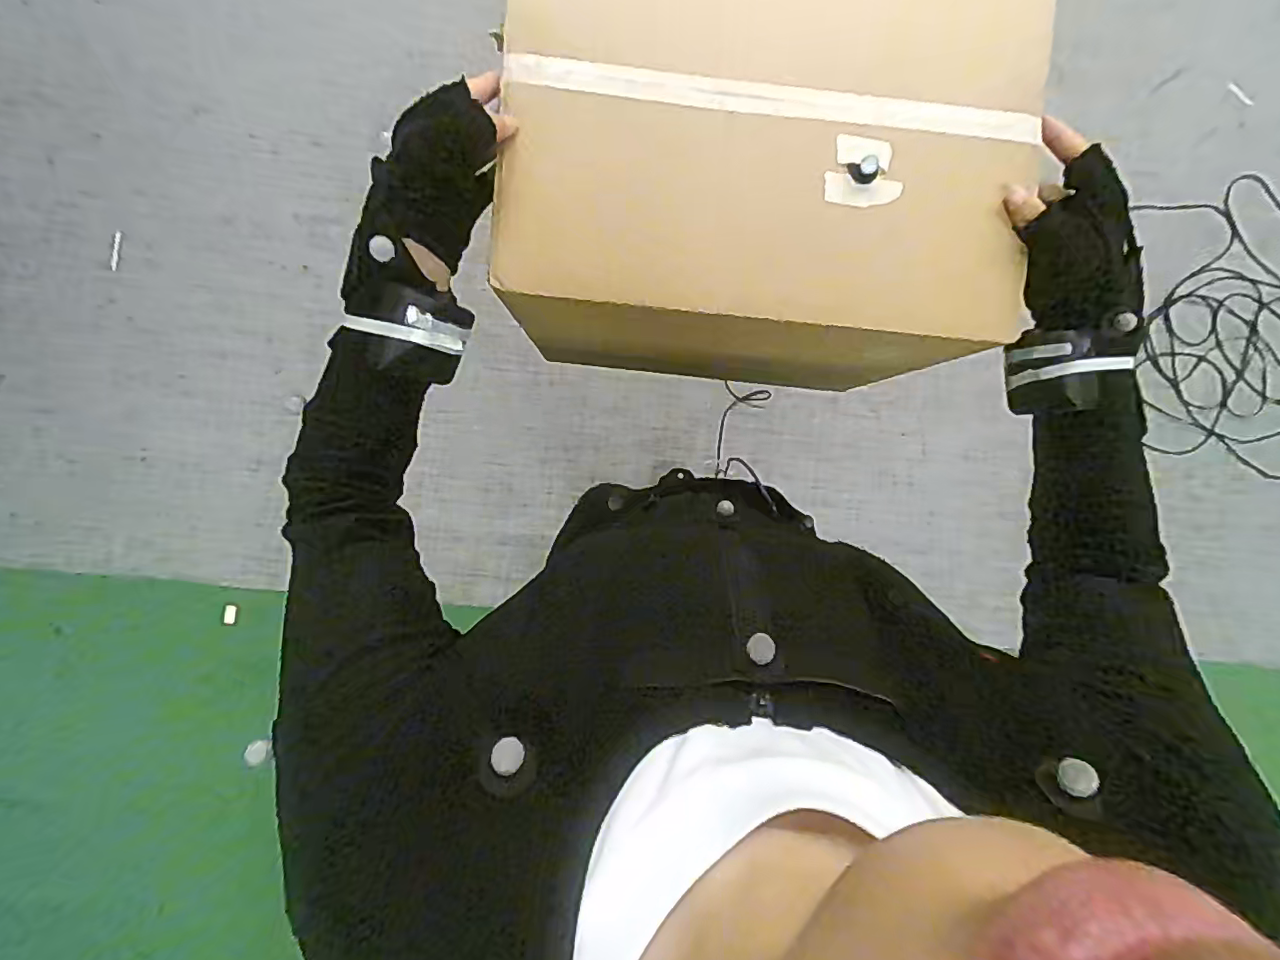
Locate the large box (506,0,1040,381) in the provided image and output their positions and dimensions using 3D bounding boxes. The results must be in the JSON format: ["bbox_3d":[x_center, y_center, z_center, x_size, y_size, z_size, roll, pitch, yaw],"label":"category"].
[{"bbox_3d":[0.097,-0.291,0.562,0.408,0.320,0.320,5,93,-3],"label":"large box"}]
